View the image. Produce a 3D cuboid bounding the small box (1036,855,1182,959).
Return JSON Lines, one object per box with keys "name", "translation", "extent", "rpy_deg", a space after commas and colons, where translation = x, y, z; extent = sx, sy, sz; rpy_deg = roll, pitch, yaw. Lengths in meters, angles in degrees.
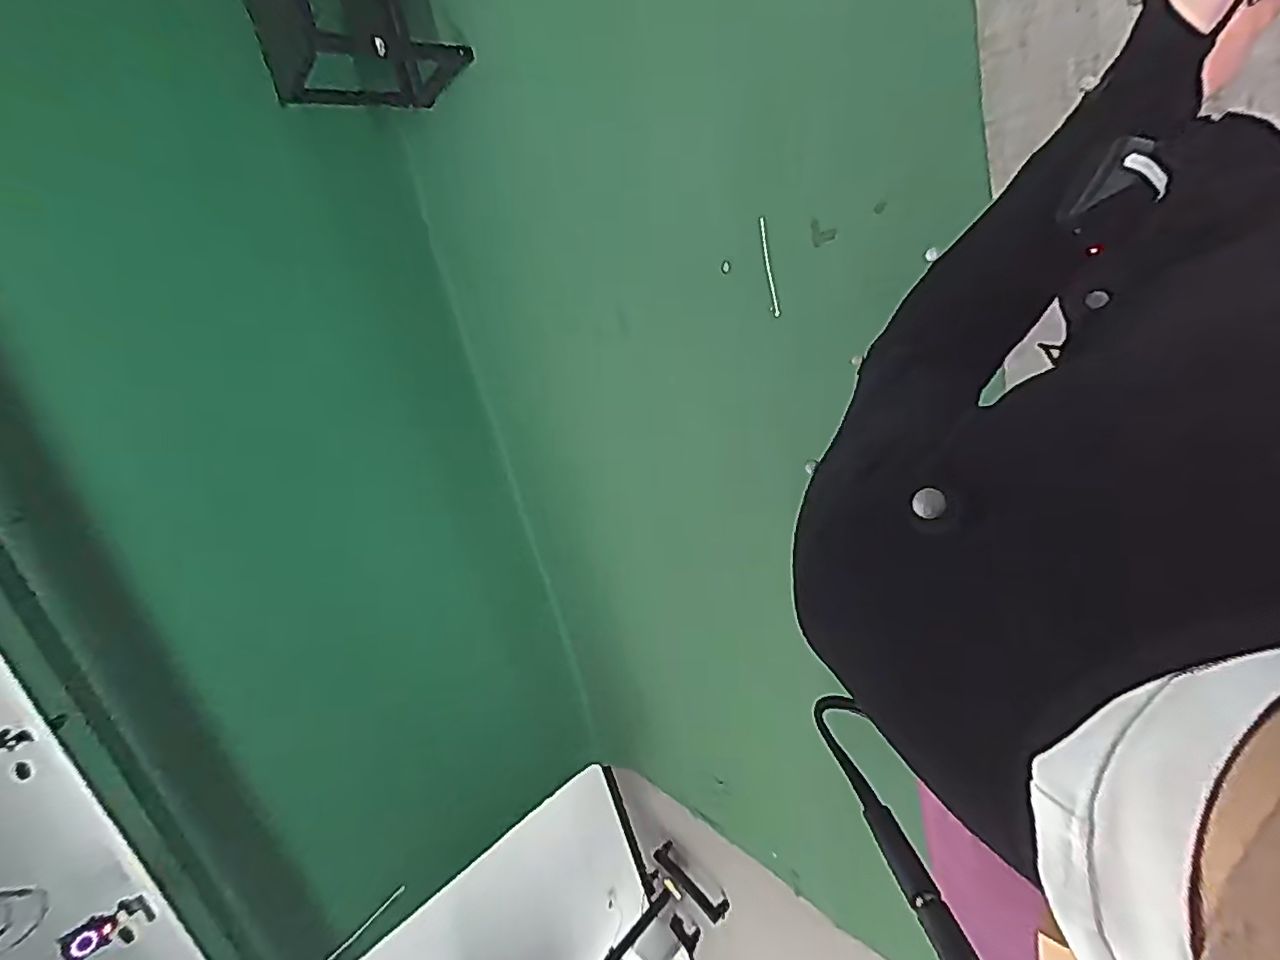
{"name": "small box", "translation": [0.797, 0.802, 0.919], "extent": [0.168, 0.176, 0.179], "rpy_deg": [5, 116, 48]}
